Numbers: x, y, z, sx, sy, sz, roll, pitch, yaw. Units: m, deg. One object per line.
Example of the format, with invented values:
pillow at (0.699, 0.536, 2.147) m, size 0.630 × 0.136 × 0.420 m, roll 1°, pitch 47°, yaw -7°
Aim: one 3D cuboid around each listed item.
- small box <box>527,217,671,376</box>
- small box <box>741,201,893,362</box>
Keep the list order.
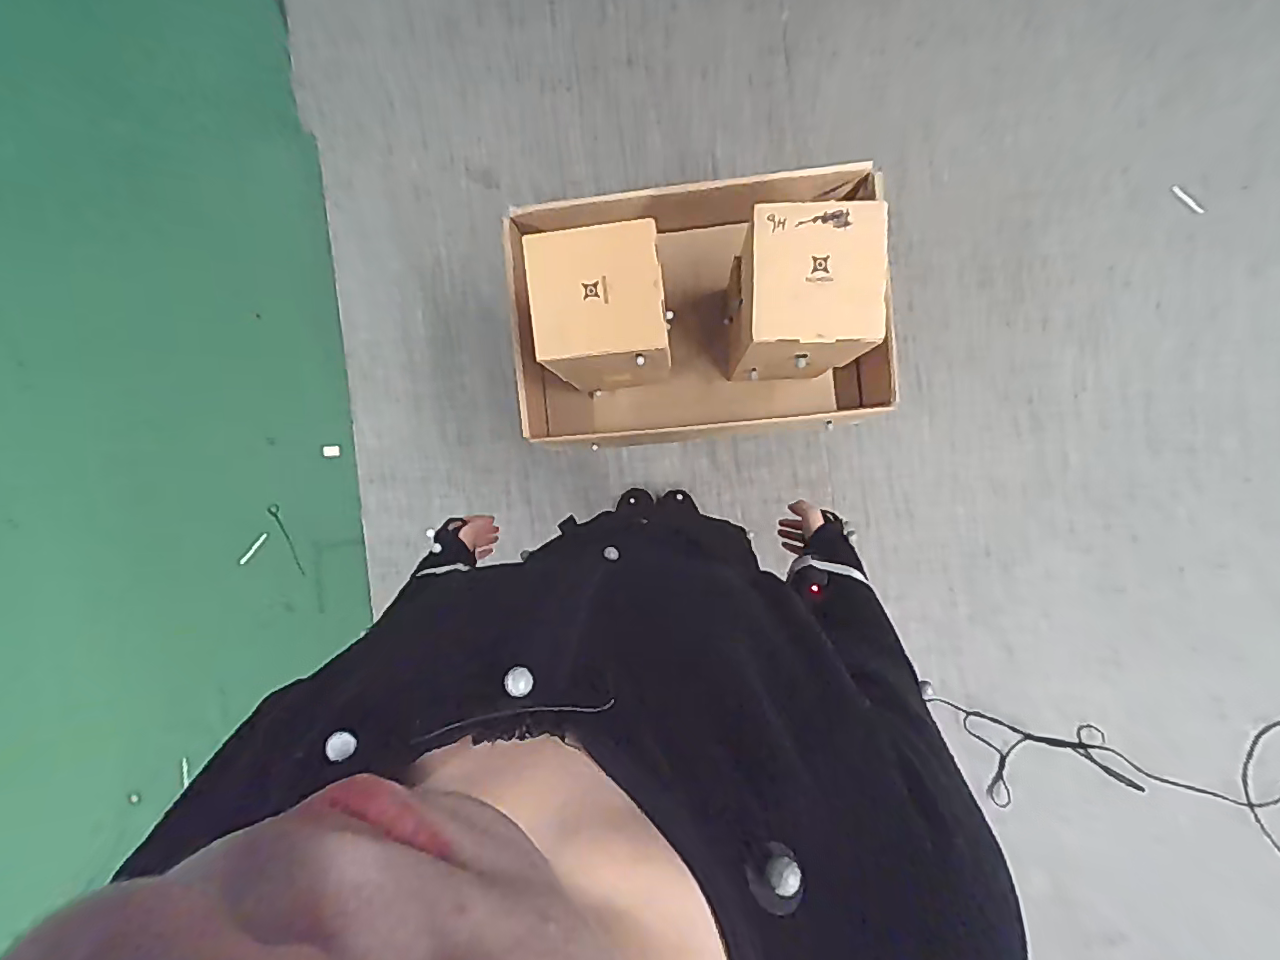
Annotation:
small box at (-0.049, -0.250, 0.778) m, size 0.179 × 0.176 × 0.168 m, roll -6°, pitch 91°, yaw 3°
small box at (0.233, -0.263, 0.752) m, size 0.168 × 0.176 × 0.179 m, roll 2°, pitch 93°, yaw 5°
